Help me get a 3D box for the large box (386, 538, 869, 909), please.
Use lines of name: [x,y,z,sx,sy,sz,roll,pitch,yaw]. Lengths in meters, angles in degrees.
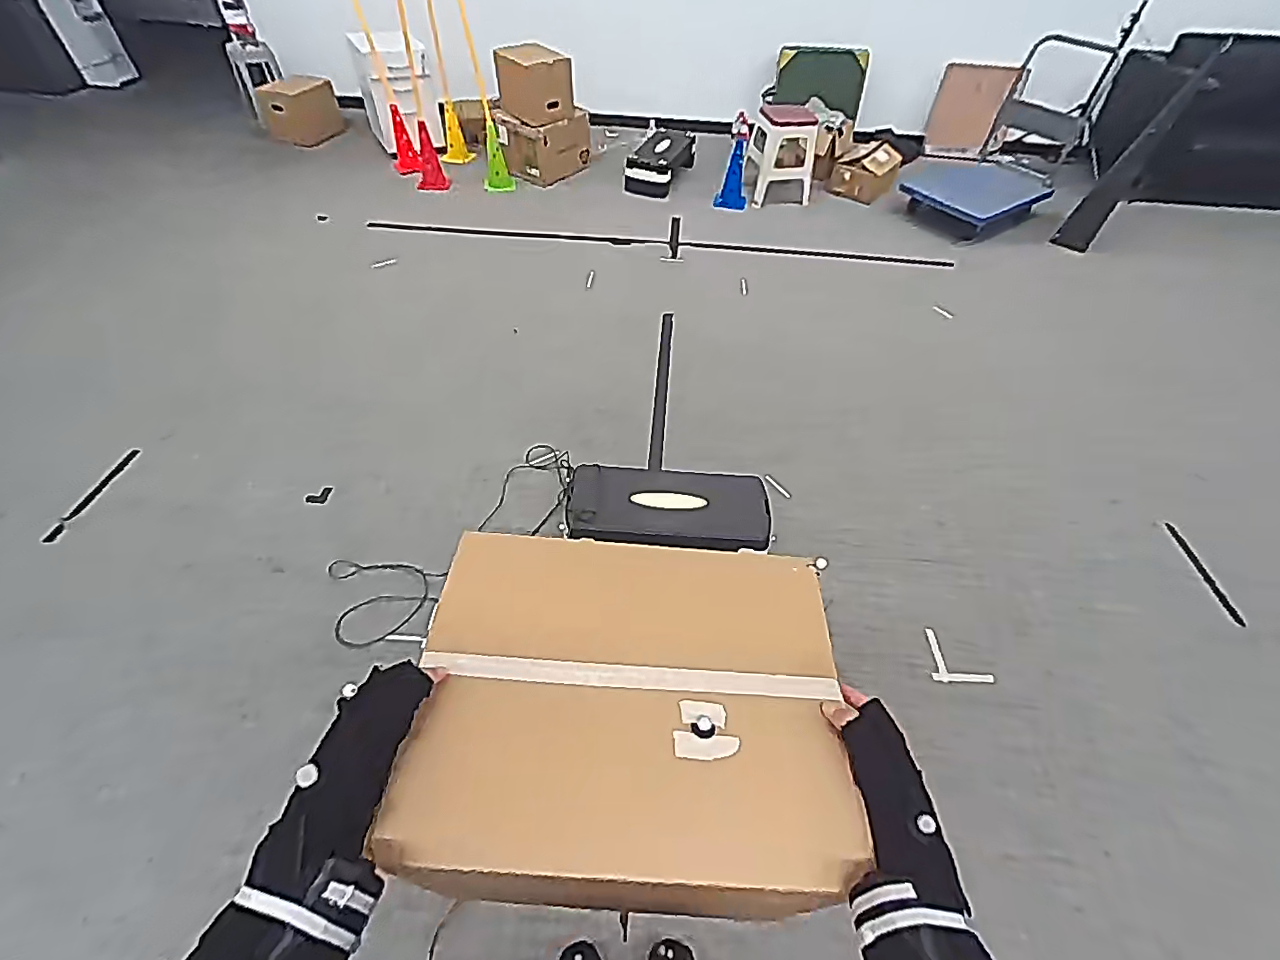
large box: [-0.015,0.295,0.644,0.408,0.320,0.320,5,48,-1]
